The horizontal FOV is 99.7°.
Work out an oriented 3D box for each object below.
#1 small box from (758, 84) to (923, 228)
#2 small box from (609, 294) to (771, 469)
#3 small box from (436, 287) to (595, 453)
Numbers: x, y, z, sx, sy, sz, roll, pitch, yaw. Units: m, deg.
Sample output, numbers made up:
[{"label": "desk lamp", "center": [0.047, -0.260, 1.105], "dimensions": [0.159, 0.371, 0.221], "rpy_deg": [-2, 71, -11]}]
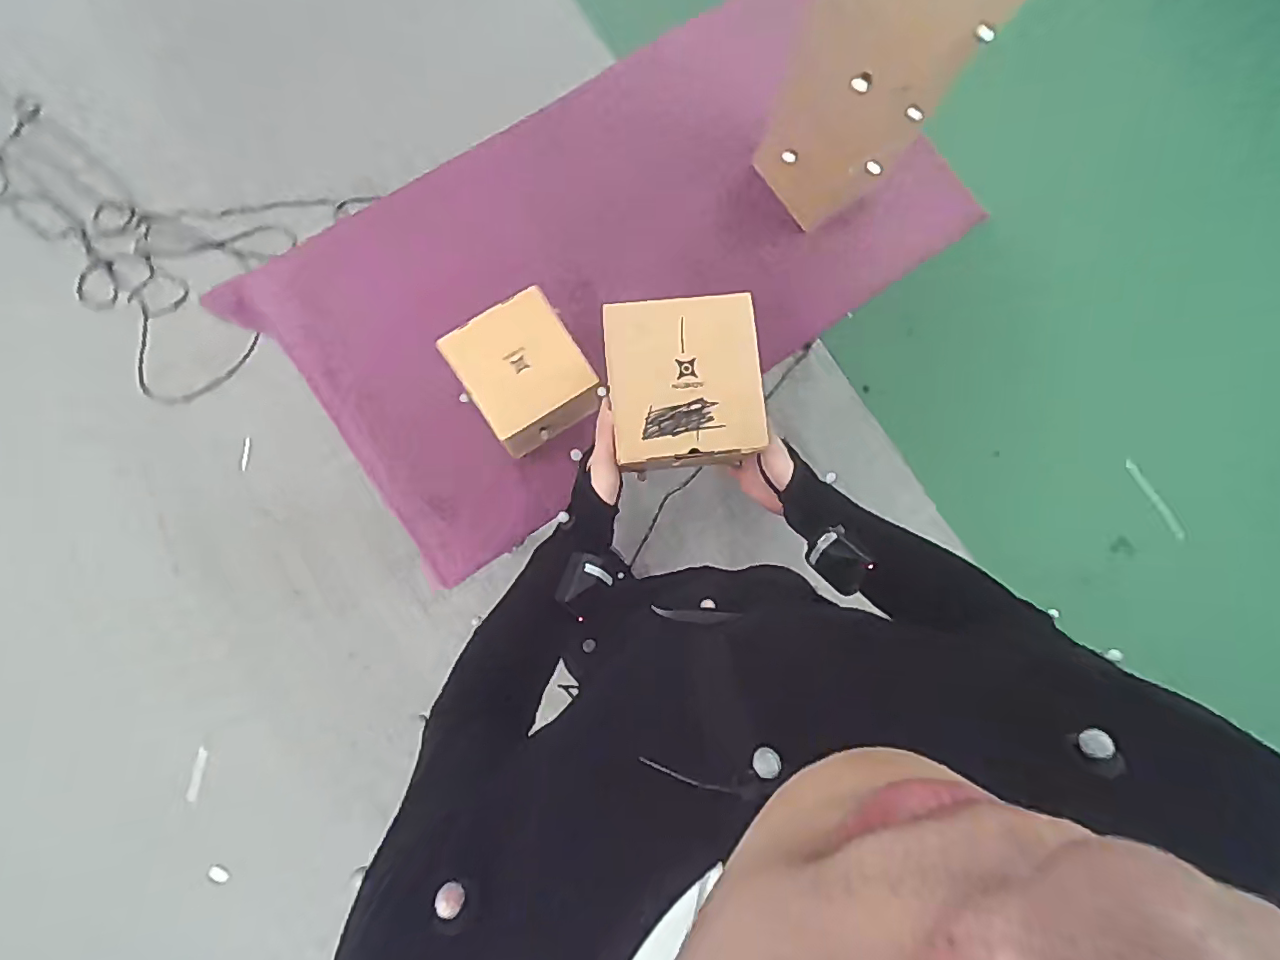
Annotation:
[{"label": "small box", "center": [0.331, -0.583, 0.933], "dimensions": [0.168, 0.176, 0.179], "rpy_deg": [-36, 86, -6]}, {"label": "small box", "center": [0.052, -0.106, 0.657], "dimensions": [0.168, 0.176, 0.179], "rpy_deg": [-4, 86, -3]}, {"label": "small box", "center": [-0.179, -0.156, 0.844], "dimensions": [0.168, 0.176, 0.179], "rpy_deg": [-33, 86, -7]}]
